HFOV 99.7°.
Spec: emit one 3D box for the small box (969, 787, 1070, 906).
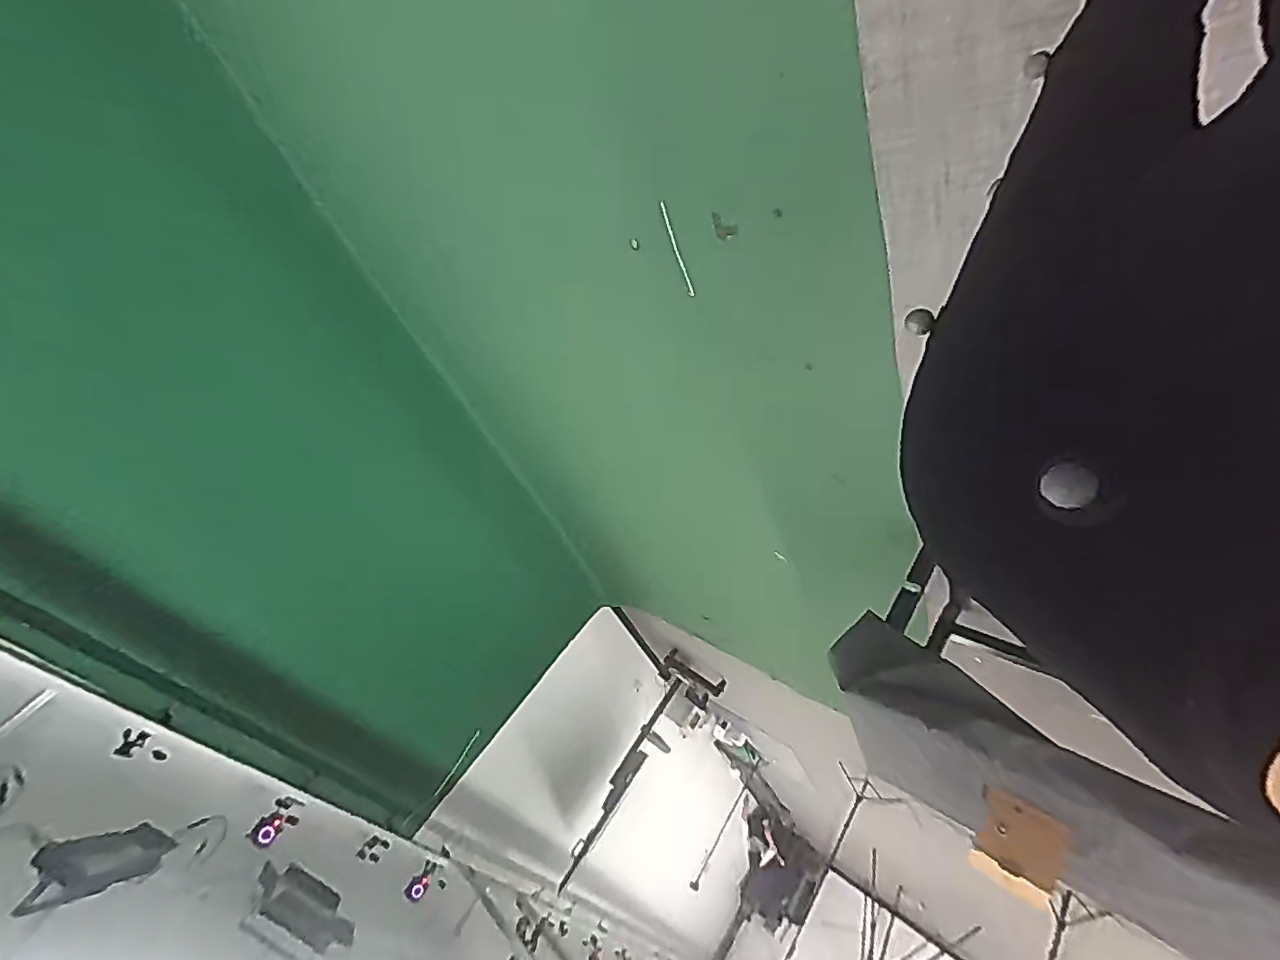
[{"bbox_3d":[0.943,0.906,1.348,0.168,0.176,0.179,19,149,42],"label":"small box"}]
